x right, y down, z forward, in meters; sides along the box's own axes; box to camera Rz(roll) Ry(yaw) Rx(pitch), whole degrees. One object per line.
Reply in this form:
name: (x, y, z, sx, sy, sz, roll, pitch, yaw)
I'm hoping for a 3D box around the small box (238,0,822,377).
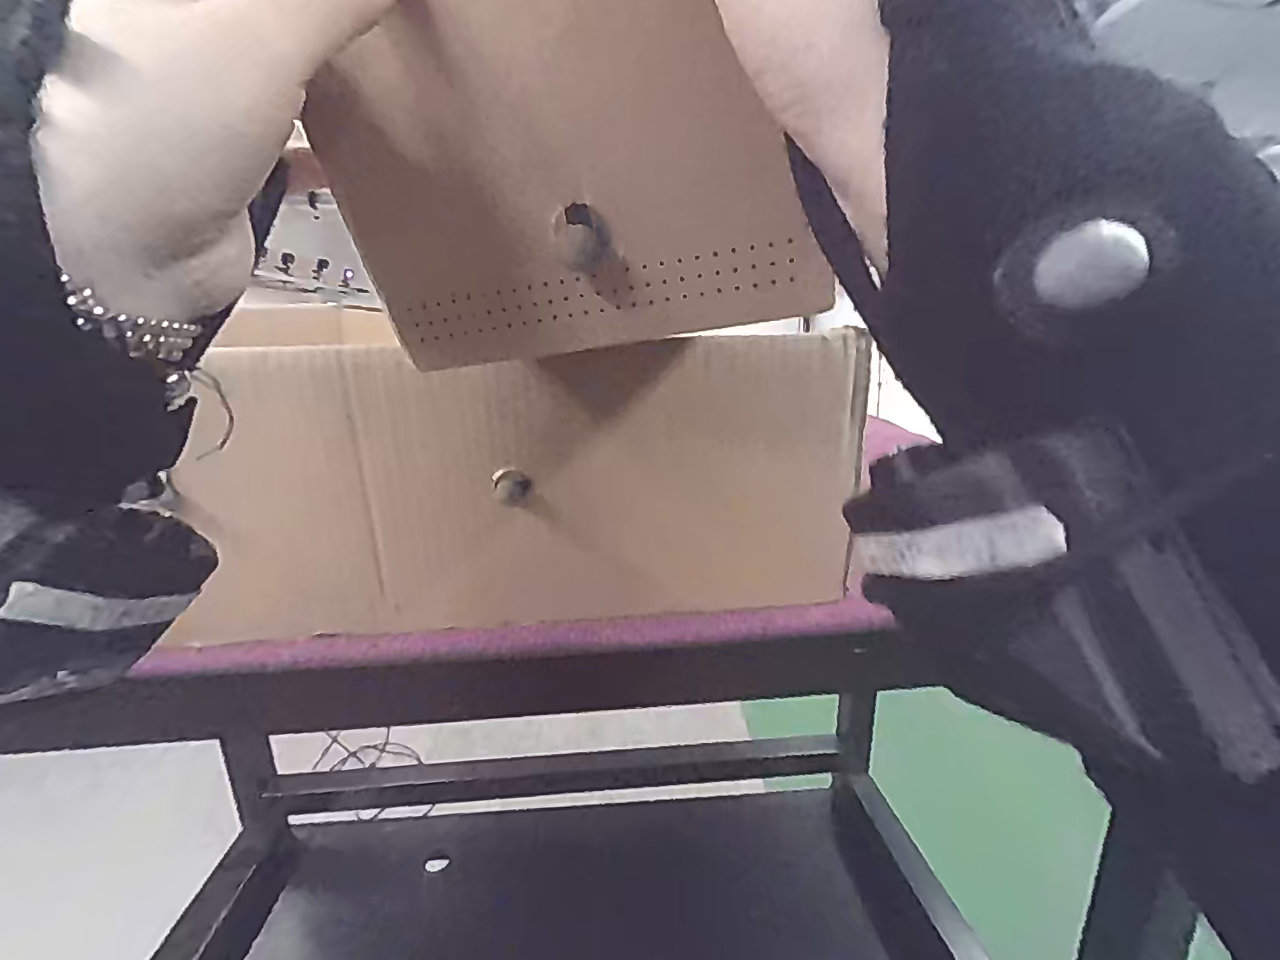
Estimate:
small box: (-0.019, -0.160, 0.236, 0.179, 0.176, 0.168, -5, 33, 13)
